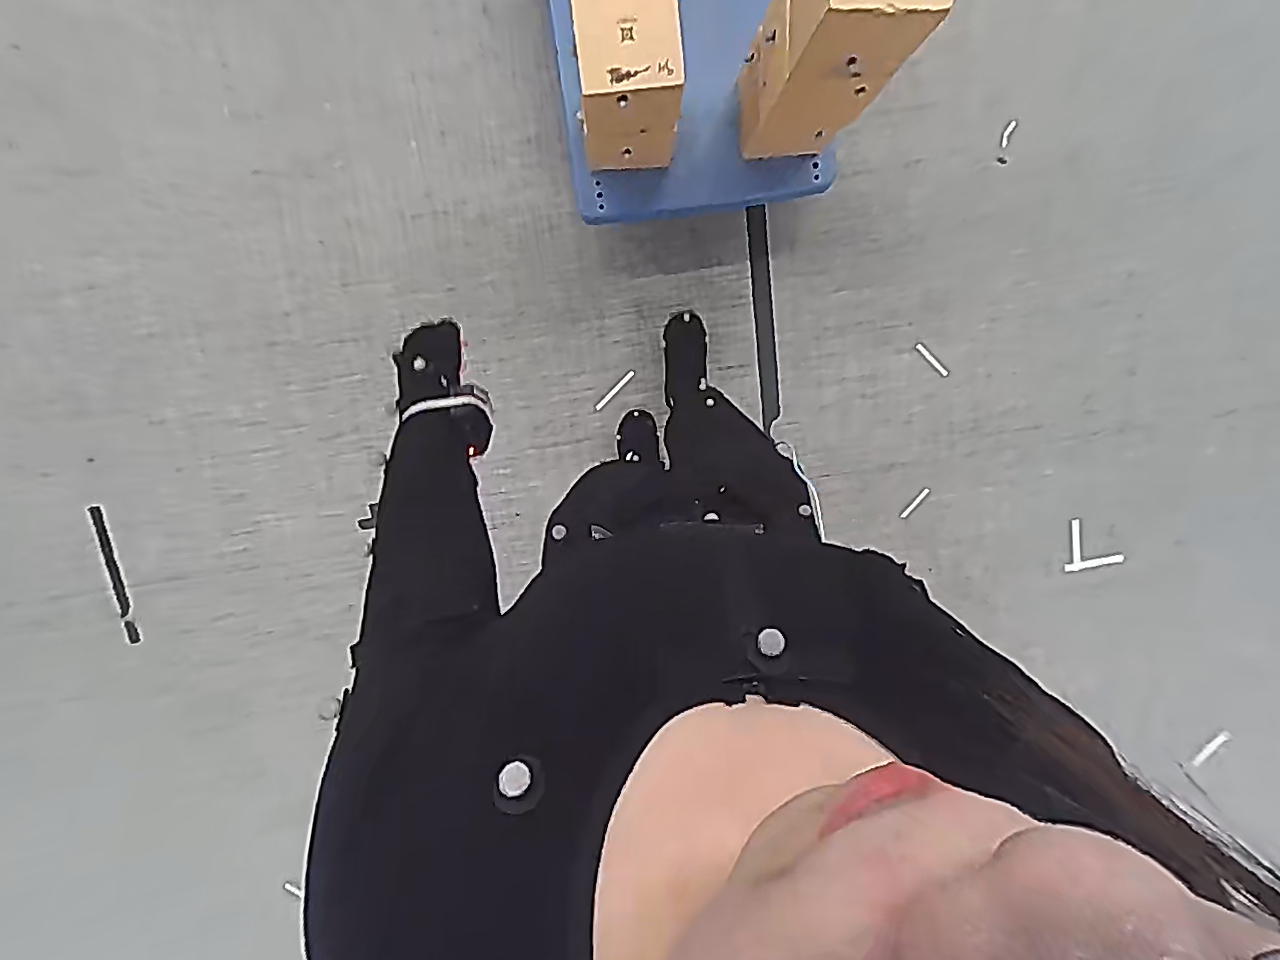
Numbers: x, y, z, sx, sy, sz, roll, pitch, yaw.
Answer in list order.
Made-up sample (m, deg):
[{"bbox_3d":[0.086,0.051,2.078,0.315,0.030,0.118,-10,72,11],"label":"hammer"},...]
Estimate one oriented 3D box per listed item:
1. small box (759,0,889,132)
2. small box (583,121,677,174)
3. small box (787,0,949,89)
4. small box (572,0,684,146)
[{"bbox_3d":[0.307,-0.724,0.929,0.179,0.176,0.168,-3,100,-3],"label":"small box"},{"bbox_3d":[-0.025,-0.732,1.079,0.179,0.176,0.168,-4,100,-1],"label":"small box"},{"bbox_3d":[0.315,-0.697,0.766,0.168,0.176,0.179,-2,100,-2],"label":"small box"},{"bbox_3d":[-0.023,-0.703,0.917,0.168,0.176,0.179,-7,100,-1],"label":"small box"}]
